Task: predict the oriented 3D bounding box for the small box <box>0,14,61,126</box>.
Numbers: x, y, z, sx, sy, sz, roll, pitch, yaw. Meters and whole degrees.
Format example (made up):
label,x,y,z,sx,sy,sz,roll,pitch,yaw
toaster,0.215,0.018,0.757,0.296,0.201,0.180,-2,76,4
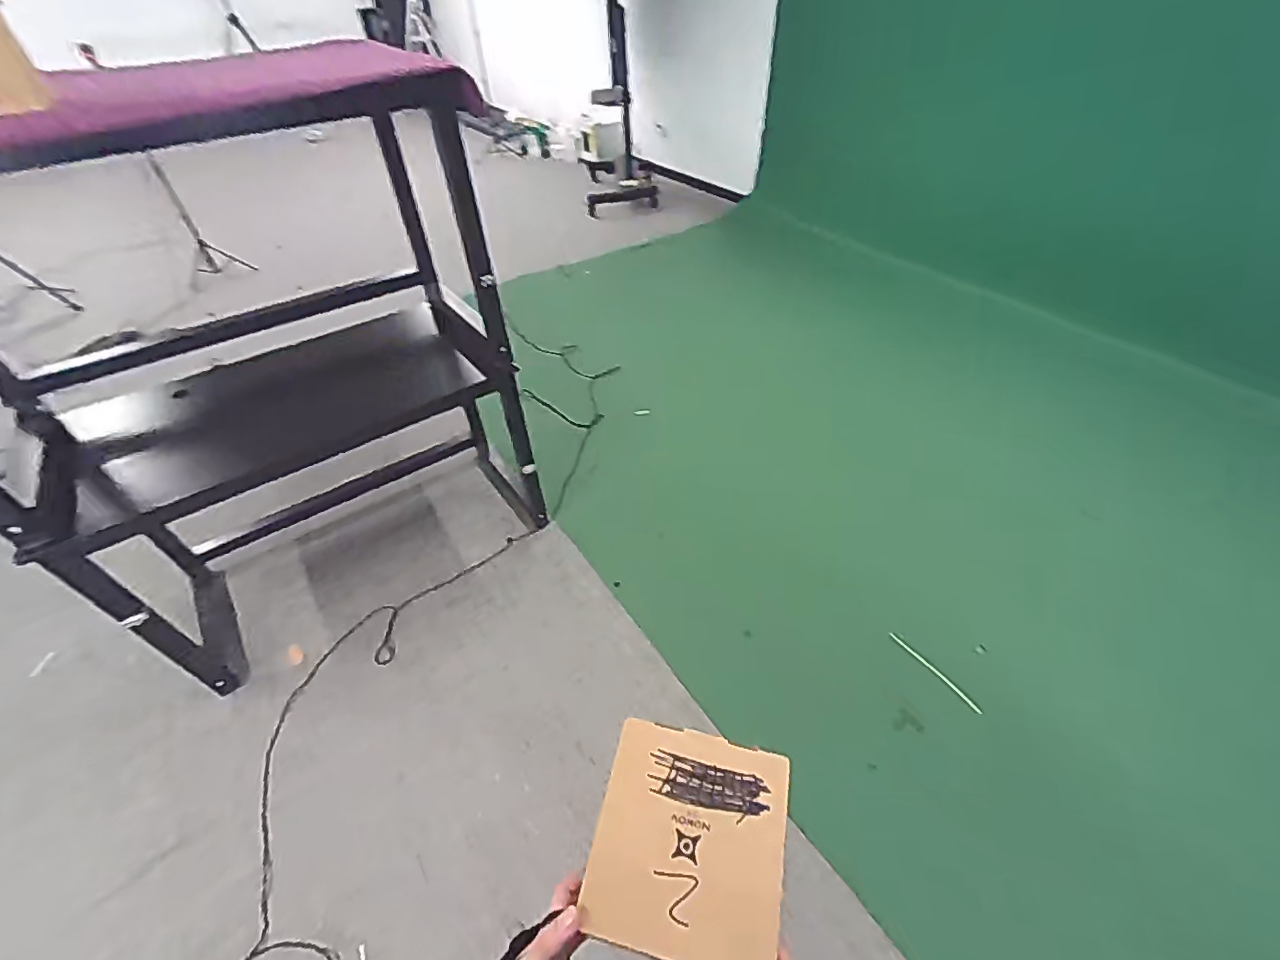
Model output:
label,x,y,z,sx,sy,sz,roll,pitch,yaw
small box,-1.068,-0.656,0.842,0.168,0.176,0.179,-28,48,-23
